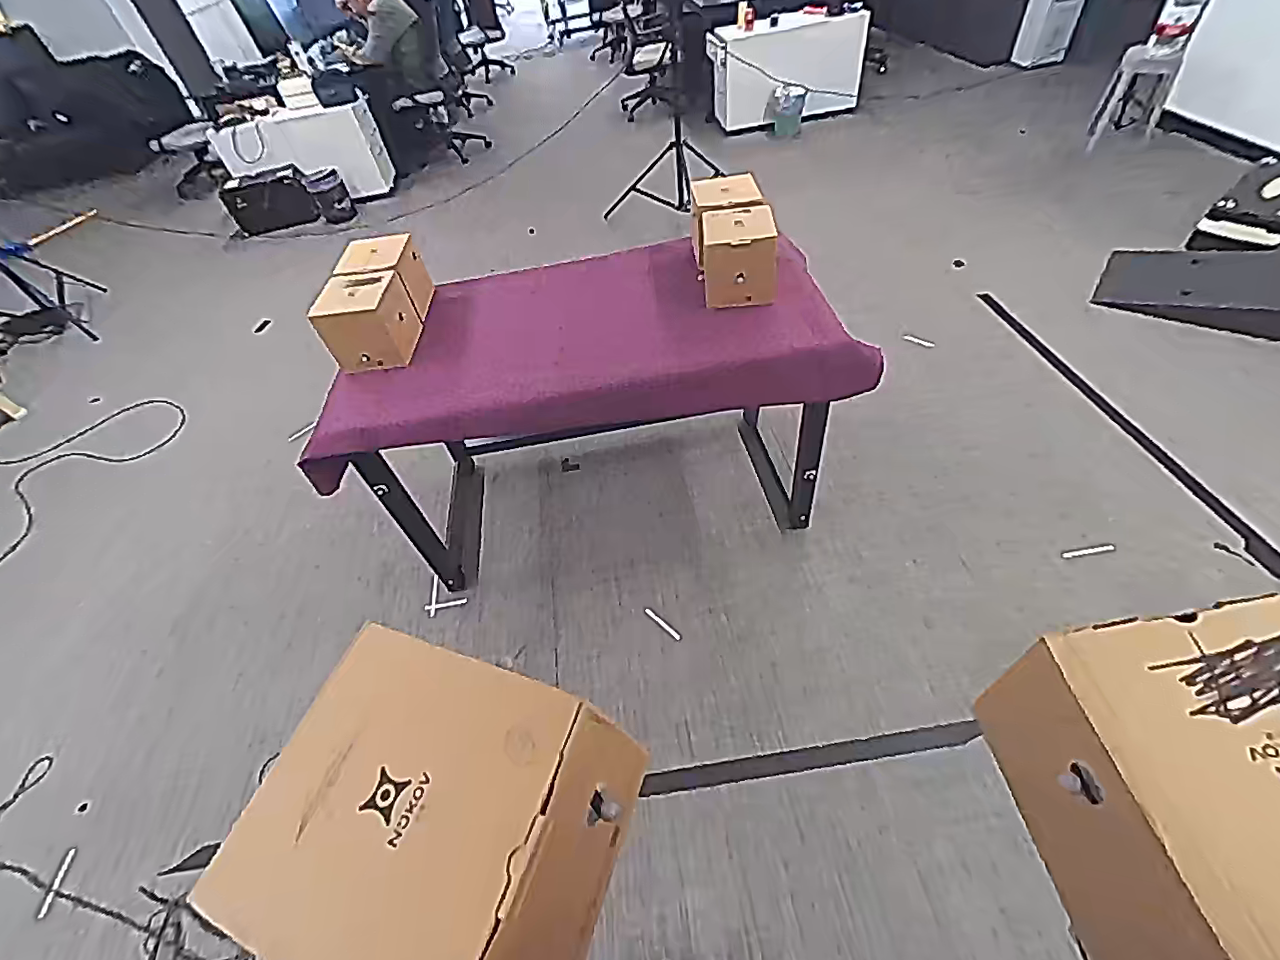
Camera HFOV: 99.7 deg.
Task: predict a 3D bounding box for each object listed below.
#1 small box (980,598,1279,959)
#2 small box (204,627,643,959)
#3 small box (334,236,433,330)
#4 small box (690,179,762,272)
[{"bbox_3d":[0.352,0.197,0.338,0.168,0.176,0.179,-13,52,6],"label":"small box"},{"bbox_3d":[-0.114,0.225,0.363,0.179,0.176,0.168,9,56,23],"label":"small box"},{"bbox_3d":[-0.680,-0.528,1.457,0.168,0.176,0.179,-7,50,3],"label":"small box"},{"bbox_3d":[0.226,-0.683,1.456,0.168,0.176,0.179,-7,48,2],"label":"small box"}]
